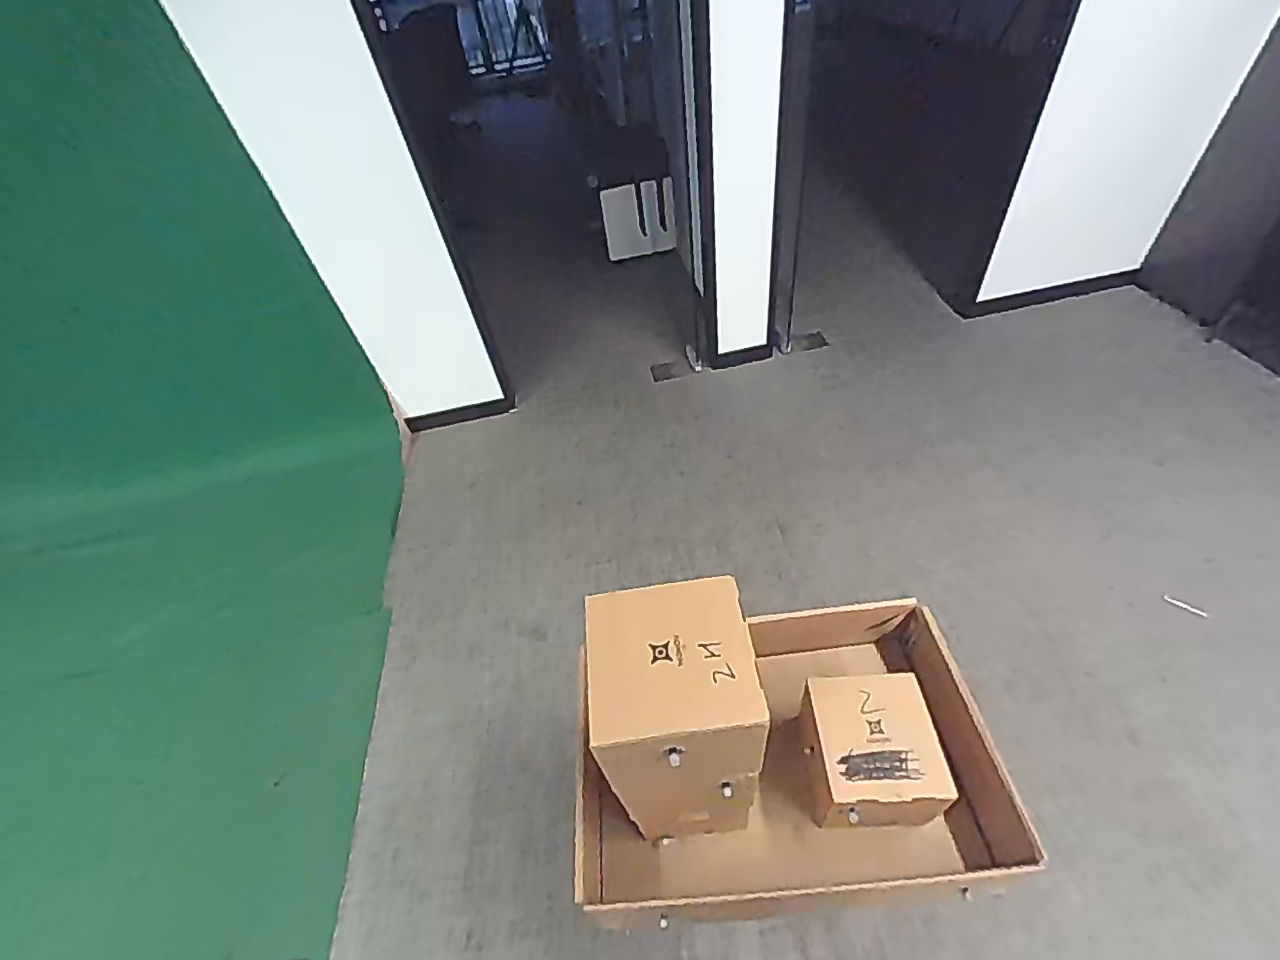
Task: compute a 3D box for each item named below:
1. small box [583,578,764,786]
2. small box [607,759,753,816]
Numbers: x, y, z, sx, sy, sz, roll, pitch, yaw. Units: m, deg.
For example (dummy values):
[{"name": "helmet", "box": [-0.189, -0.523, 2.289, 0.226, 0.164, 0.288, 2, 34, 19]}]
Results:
[{"name": "small box", "box": [0.035, 0.236, 0.623, 0.179, 0.176, 0.168, -7, 47, 0]}, {"name": "small box", "box": [0.051, 0.346, 0.745, 0.179, 0.176, 0.168, -7, 47, 1]}]
